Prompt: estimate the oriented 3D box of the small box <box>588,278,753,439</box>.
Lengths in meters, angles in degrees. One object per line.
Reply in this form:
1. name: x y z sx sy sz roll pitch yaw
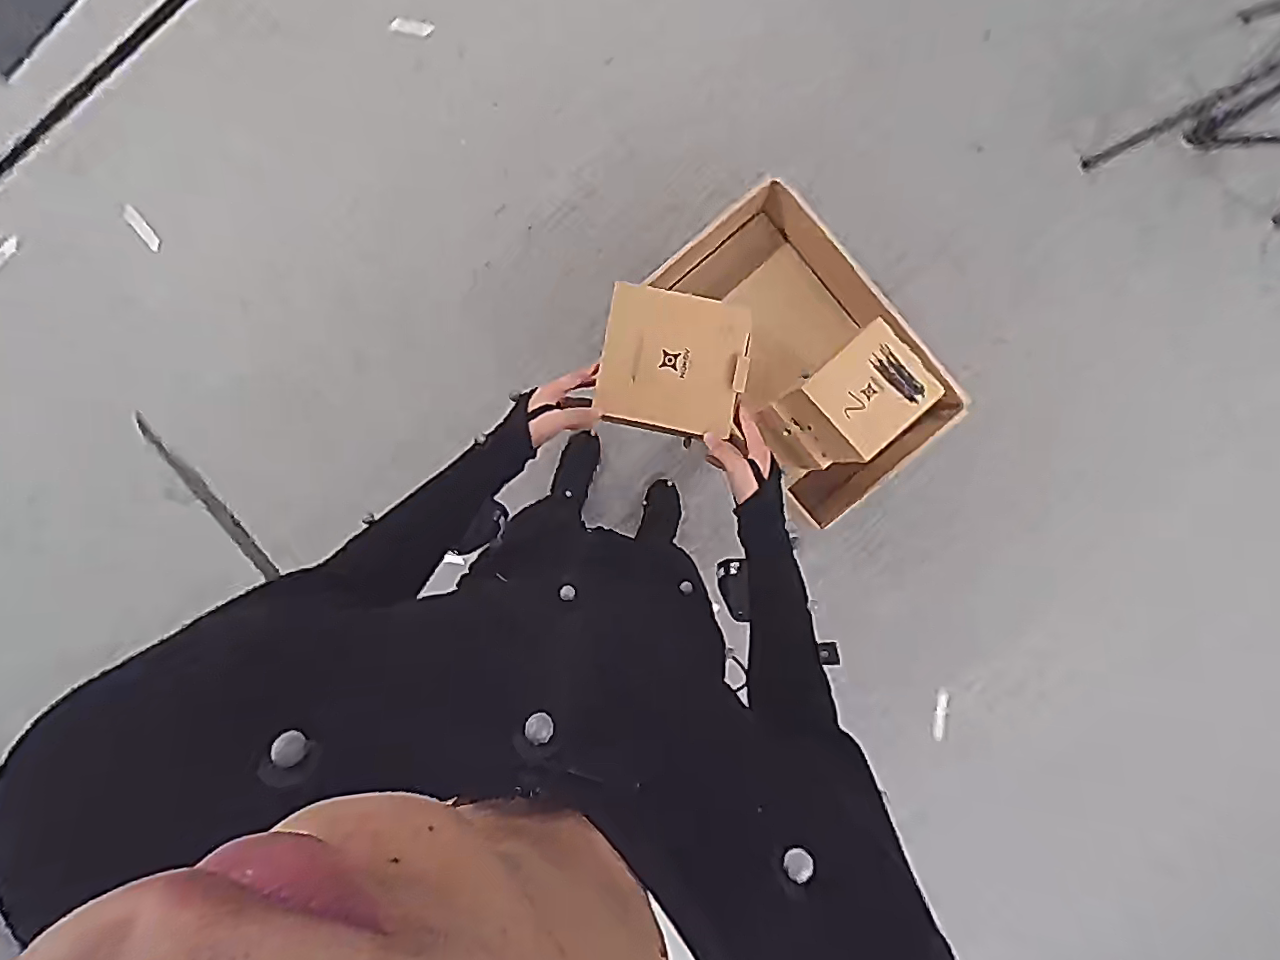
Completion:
1. small box: 0.036 -0.151 0.730 0.179 0.176 0.168 10 93 0
